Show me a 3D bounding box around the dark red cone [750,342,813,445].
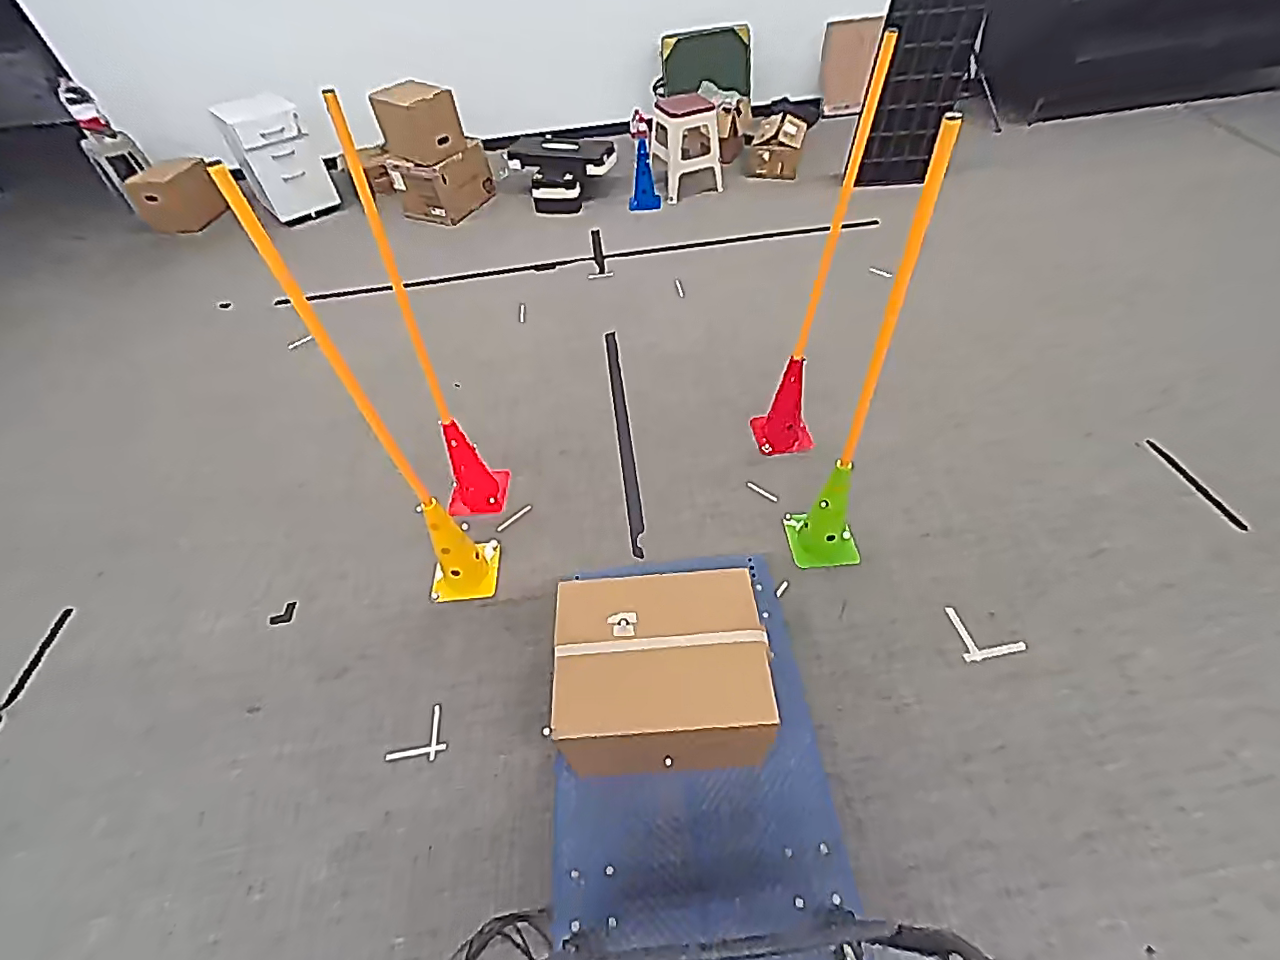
[{"bbox_3d":[0.521,-0.311,1.900,0.201,0.394,0.202,-7,50,-3],"label":"dark red cone"}]

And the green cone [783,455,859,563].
[{"bbox_3d":[0.566,0.067,1.598,0.202,0.368,0.200,-5,49,0],"label":"green cone"}]

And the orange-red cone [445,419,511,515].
[{"bbox_3d":[-0.584,-0.065,1.823,0.198,0.360,0.199,-2,48,2],"label":"orange-red cone"}]

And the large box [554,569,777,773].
[{"bbox_3d":[0.049,0.417,1.159,0.408,0.320,0.320,-5,50,2],"label":"large box"}]
